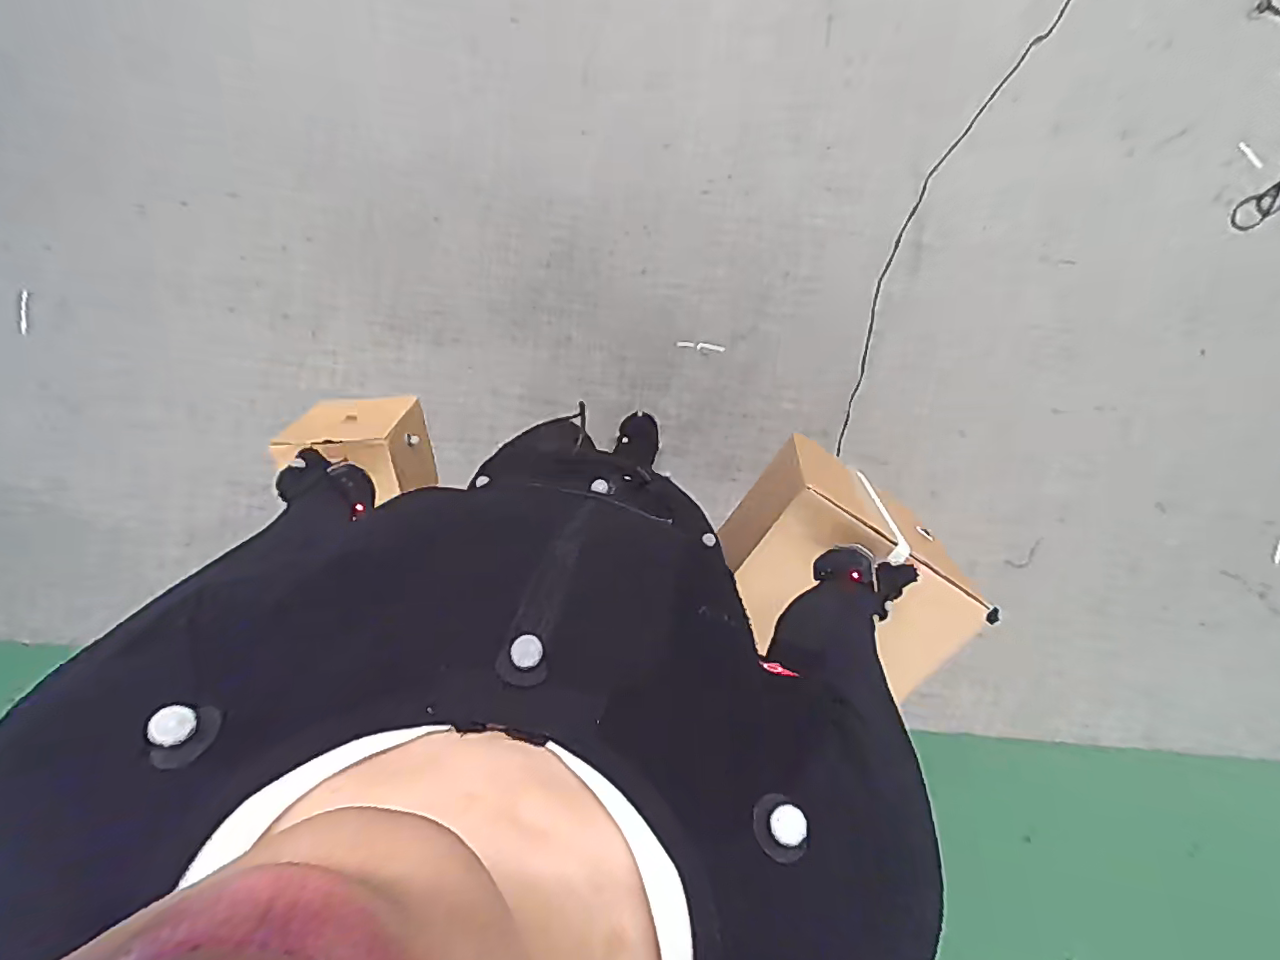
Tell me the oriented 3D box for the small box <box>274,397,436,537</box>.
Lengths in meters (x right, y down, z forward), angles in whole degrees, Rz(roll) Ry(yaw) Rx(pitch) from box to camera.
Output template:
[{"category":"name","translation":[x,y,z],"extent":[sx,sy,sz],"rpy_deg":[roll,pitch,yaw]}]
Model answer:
[{"category":"small box","translation":[-0.446,-0.026,0.883],"extent":[0.168,0.179,0.176],"rpy_deg":[-5,119,-3]}]
